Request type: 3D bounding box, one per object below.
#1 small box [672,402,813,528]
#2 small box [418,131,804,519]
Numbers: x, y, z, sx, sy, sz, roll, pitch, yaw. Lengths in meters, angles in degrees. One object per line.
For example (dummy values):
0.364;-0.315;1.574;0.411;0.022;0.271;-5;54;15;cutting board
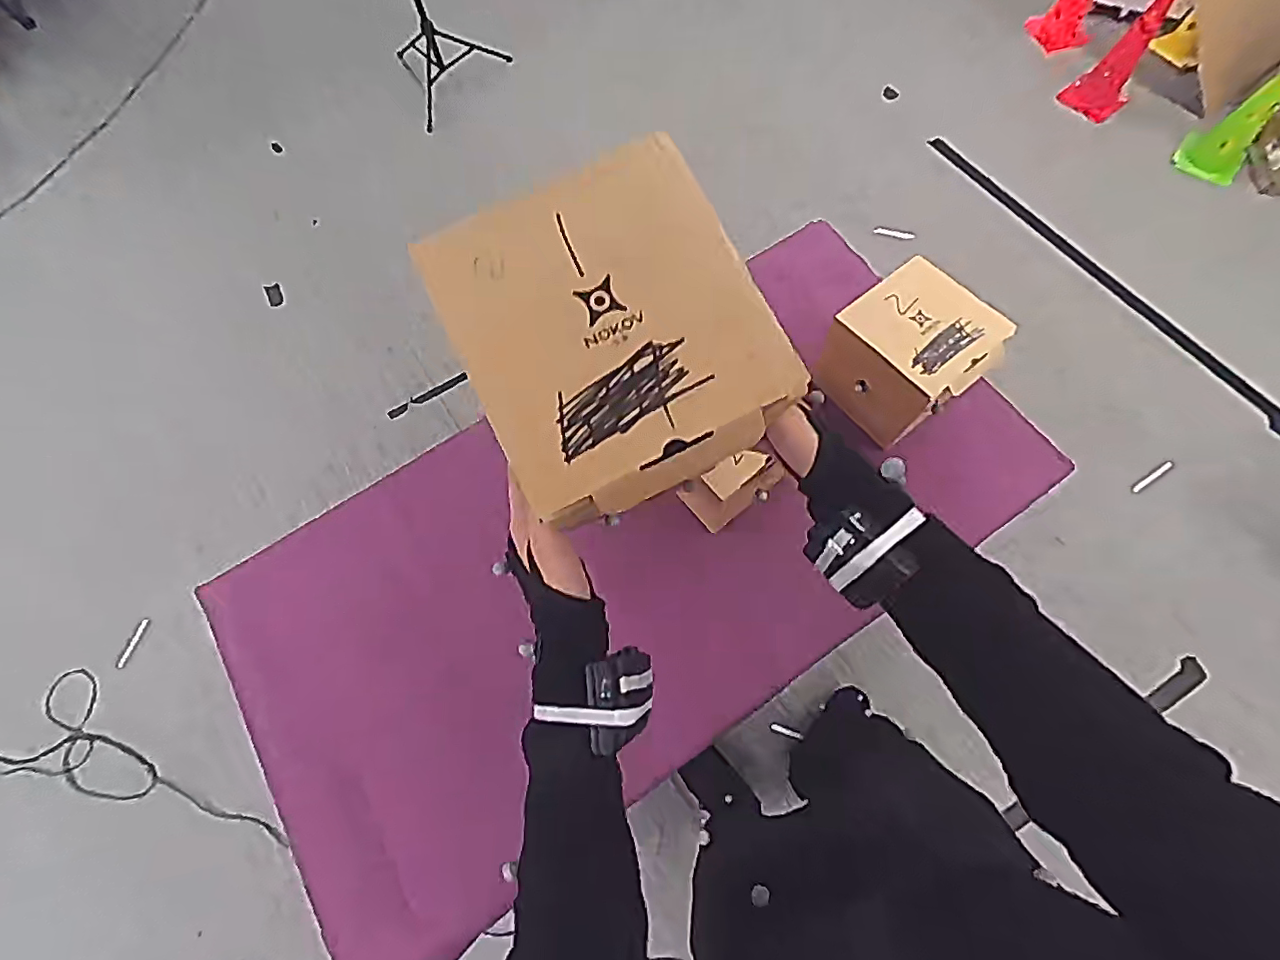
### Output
0.114;-0.056;0.786;0.168;0.176;0.179;-38;73;-9;small box
-0.016;-0.083;0.381;0.168;0.176;0.179;-26;84;-3;small box
